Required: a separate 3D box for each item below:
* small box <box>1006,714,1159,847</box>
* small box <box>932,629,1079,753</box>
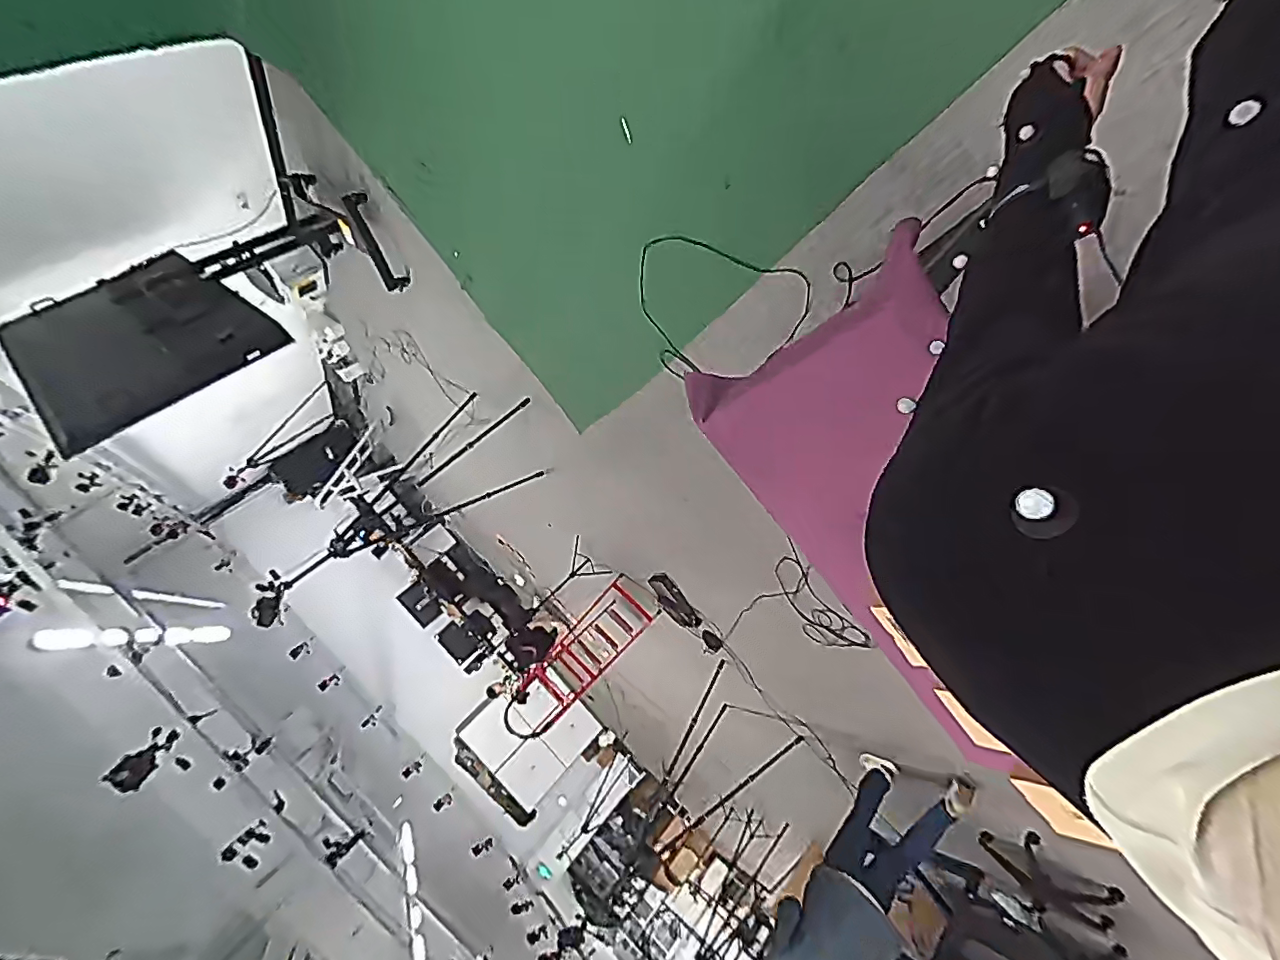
[{"bbox_3d":[0.929,0.613,1.136,0.168,0.176,0.179,48,152,-2],"label":"small box"},{"bbox_3d":[0.763,0.427,1.129,0.168,0.176,0.179,51,152,-6],"label":"small box"}]
